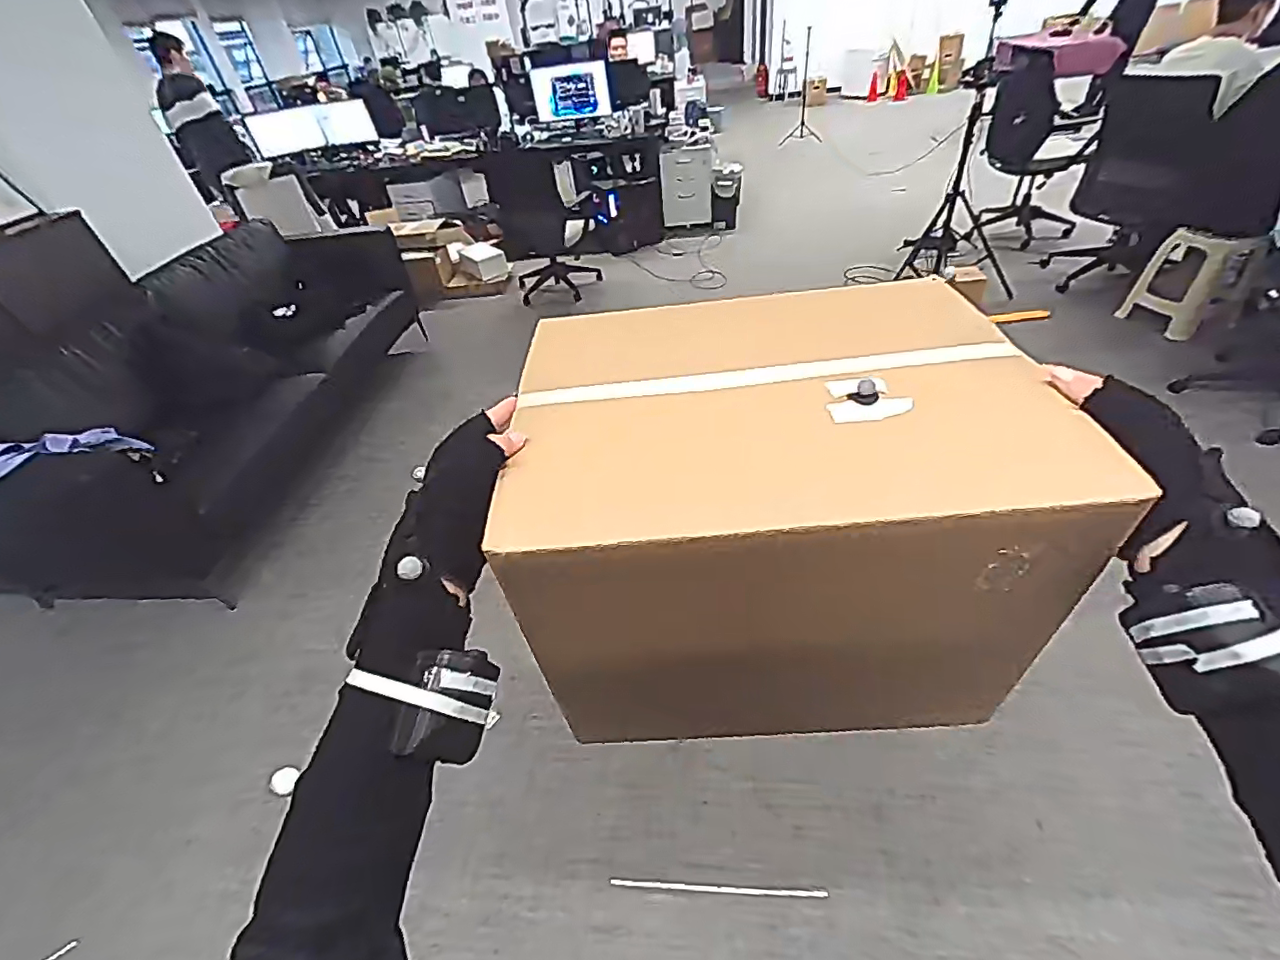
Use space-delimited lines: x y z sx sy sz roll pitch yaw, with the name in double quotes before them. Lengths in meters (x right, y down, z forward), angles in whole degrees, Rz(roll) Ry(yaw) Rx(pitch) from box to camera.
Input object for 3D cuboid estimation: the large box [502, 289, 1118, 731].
"large box" 0.114 0.031 0.554 0.408 0.320 0.320 -4 43 4
